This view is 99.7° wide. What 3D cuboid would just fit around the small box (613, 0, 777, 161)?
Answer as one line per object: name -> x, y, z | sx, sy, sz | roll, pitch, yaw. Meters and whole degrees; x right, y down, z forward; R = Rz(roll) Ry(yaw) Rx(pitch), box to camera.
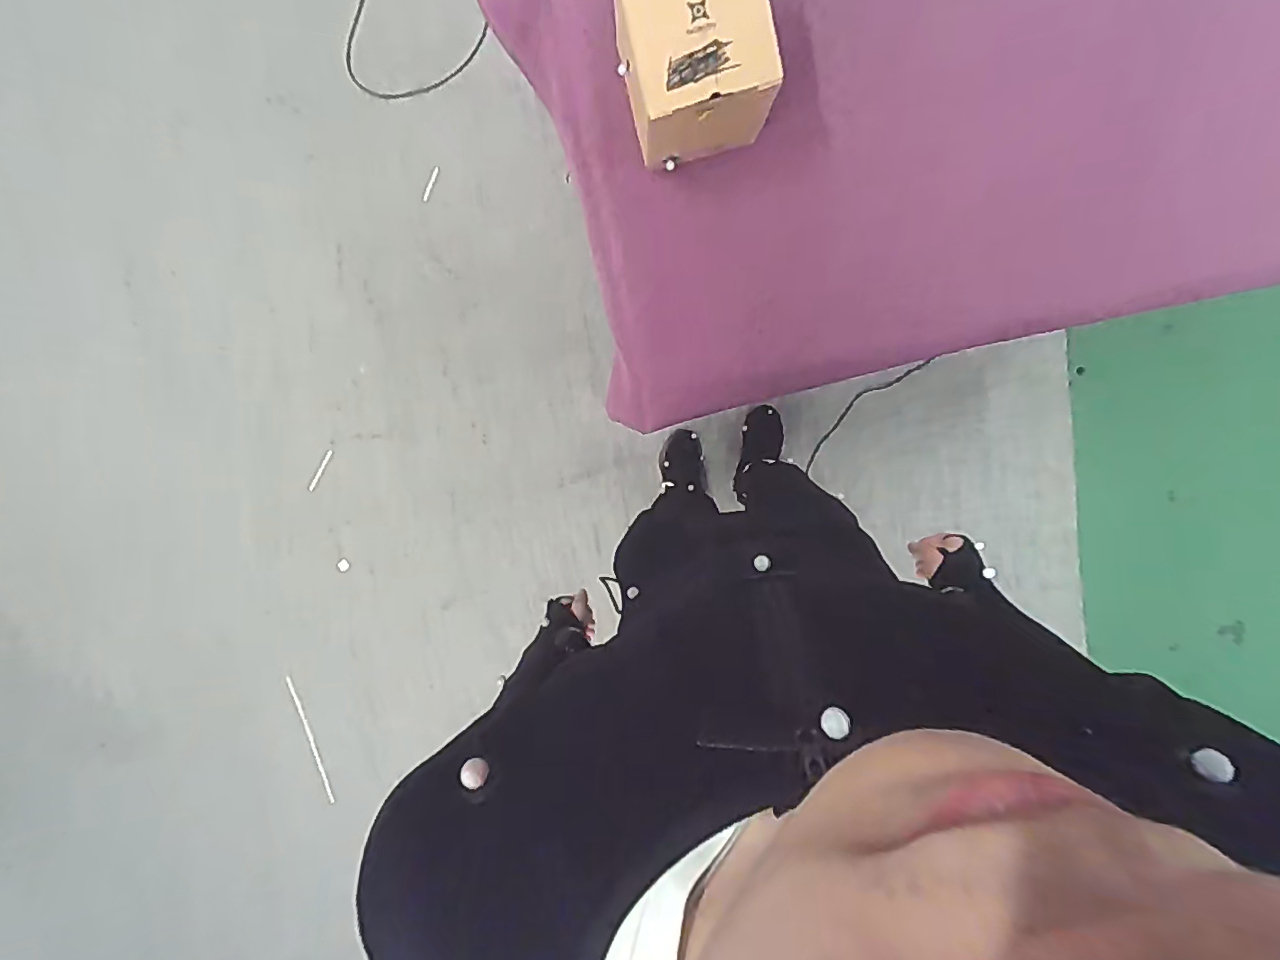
small box -> 0.065, -0.545, 0.703 | 0.168, 0.176, 0.179 | -14, 99, 2
